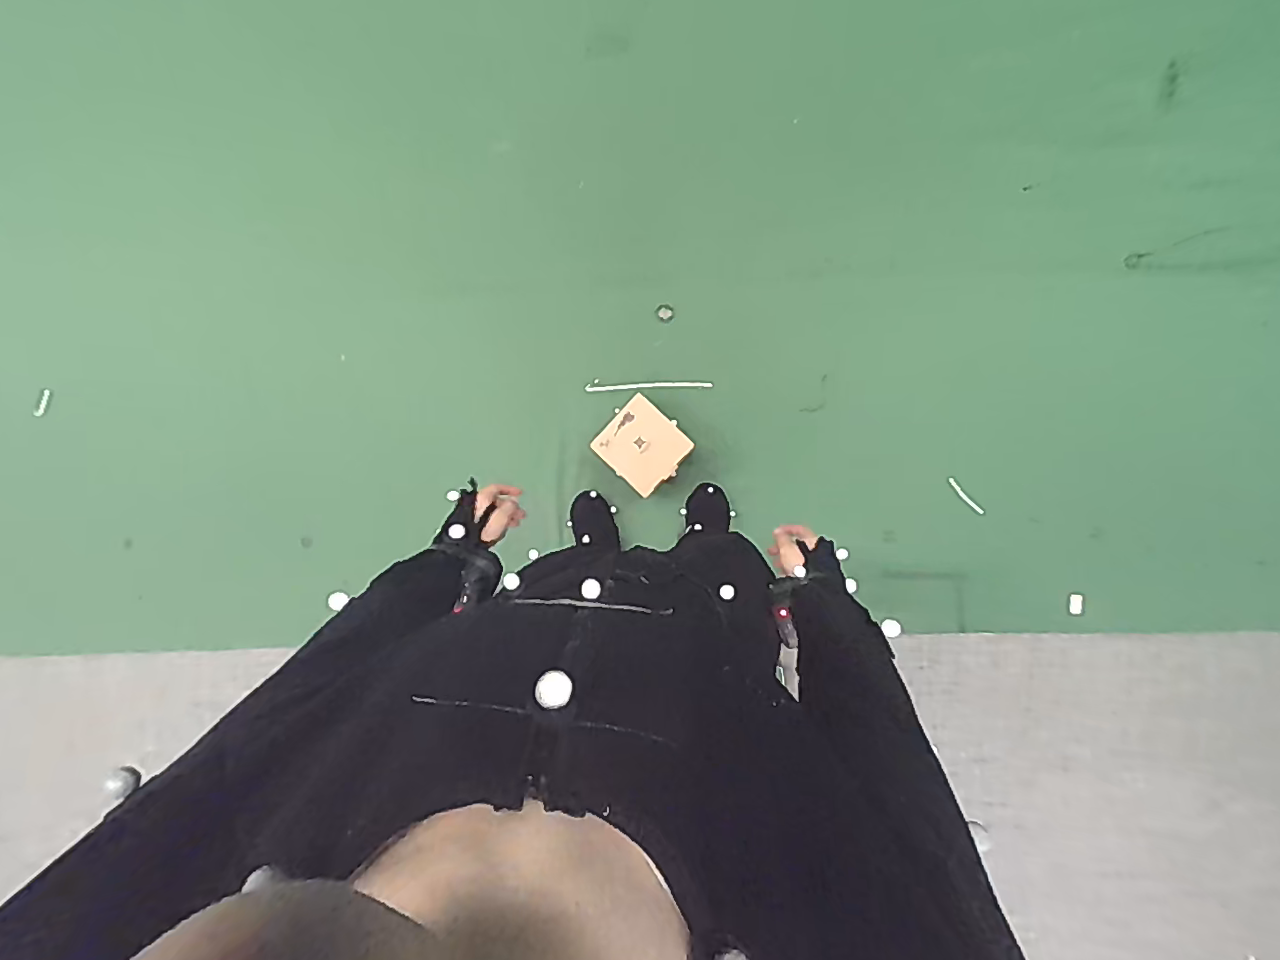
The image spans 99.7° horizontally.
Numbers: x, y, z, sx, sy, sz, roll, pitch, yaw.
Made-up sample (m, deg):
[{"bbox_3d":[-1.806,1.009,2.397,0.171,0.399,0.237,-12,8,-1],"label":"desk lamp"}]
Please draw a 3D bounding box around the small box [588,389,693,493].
[{"bbox_3d":[0.005,-0.093,1.270,0.179,0.176,0.168,43,94,-1],"label":"small box"}]
